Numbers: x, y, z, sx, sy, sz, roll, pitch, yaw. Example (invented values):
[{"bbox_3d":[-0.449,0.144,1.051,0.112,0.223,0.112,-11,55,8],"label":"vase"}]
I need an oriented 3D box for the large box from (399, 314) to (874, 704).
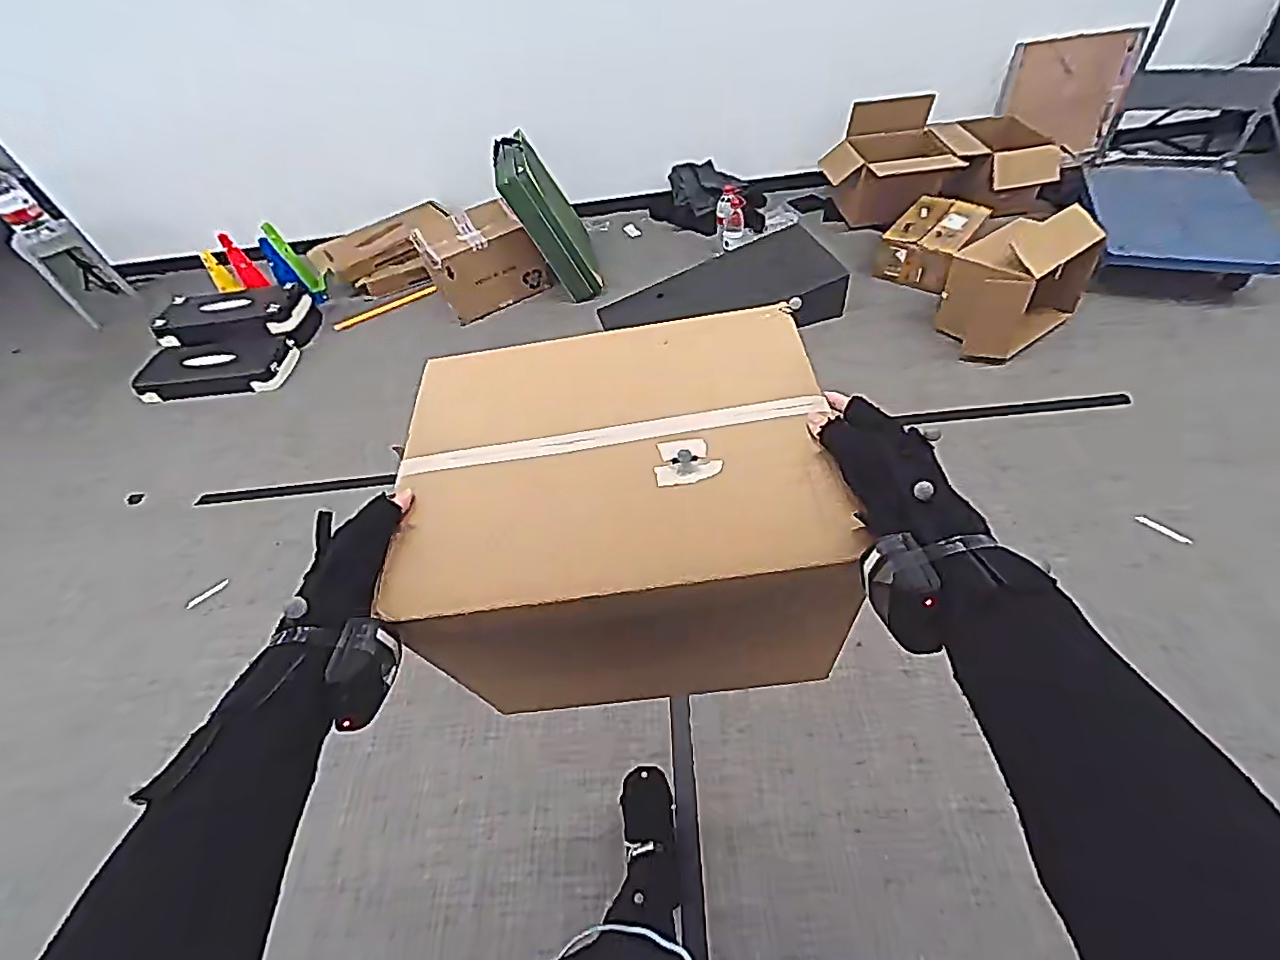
[{"bbox_3d":[-0.003,0.049,0.646,0.408,0.320,0.320,-8,54,3],"label":"large box"}]
